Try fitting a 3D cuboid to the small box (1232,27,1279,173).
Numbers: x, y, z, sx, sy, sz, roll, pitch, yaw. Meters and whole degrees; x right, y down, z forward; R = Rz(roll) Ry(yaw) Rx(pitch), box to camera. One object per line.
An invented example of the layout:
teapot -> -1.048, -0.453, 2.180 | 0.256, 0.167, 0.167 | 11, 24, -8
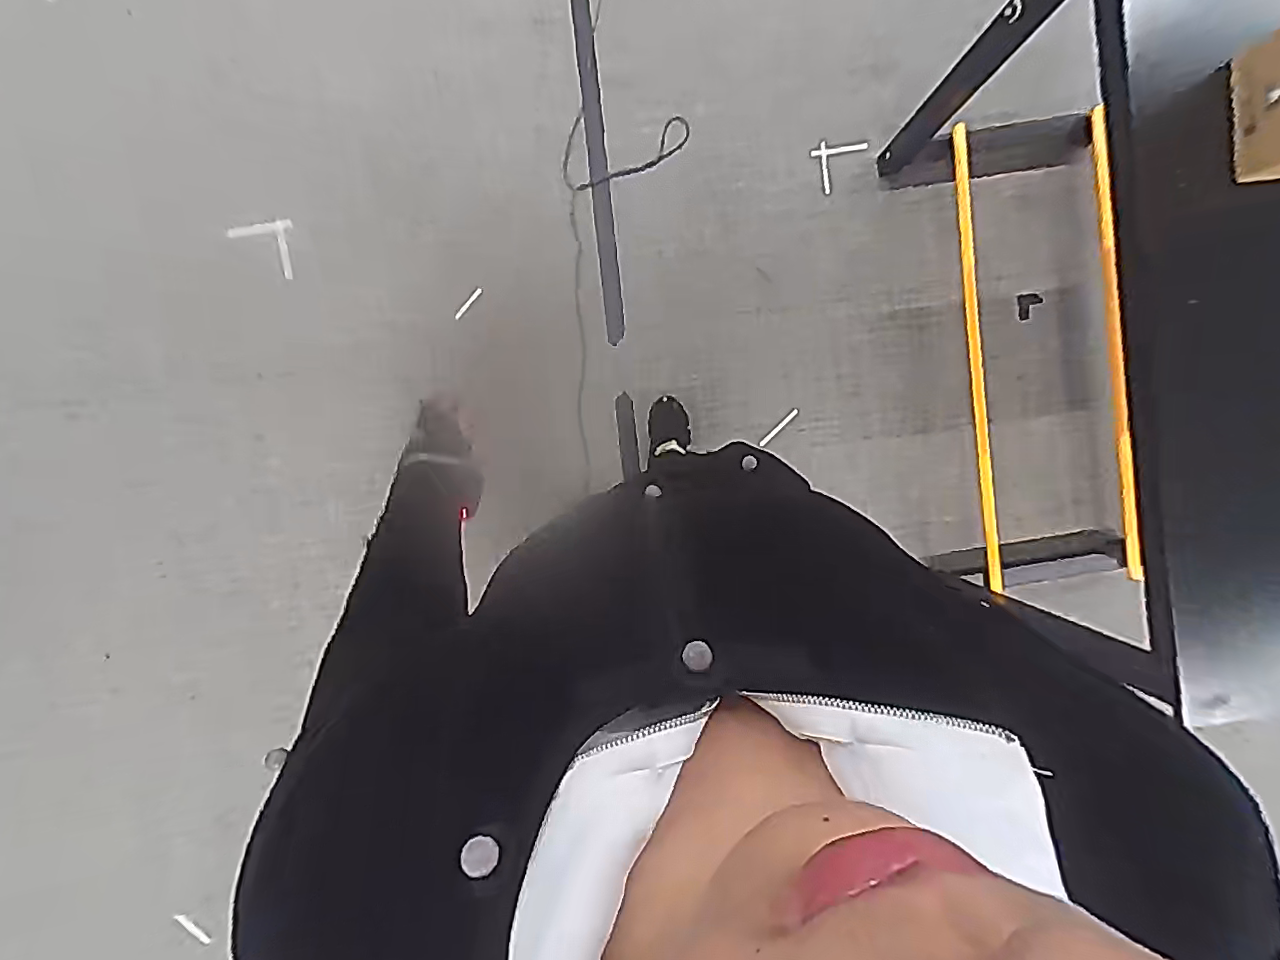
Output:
small box -> 0.891, -0.500, 0.653 | 0.179, 0.176, 0.168 | -6, 93, 0
